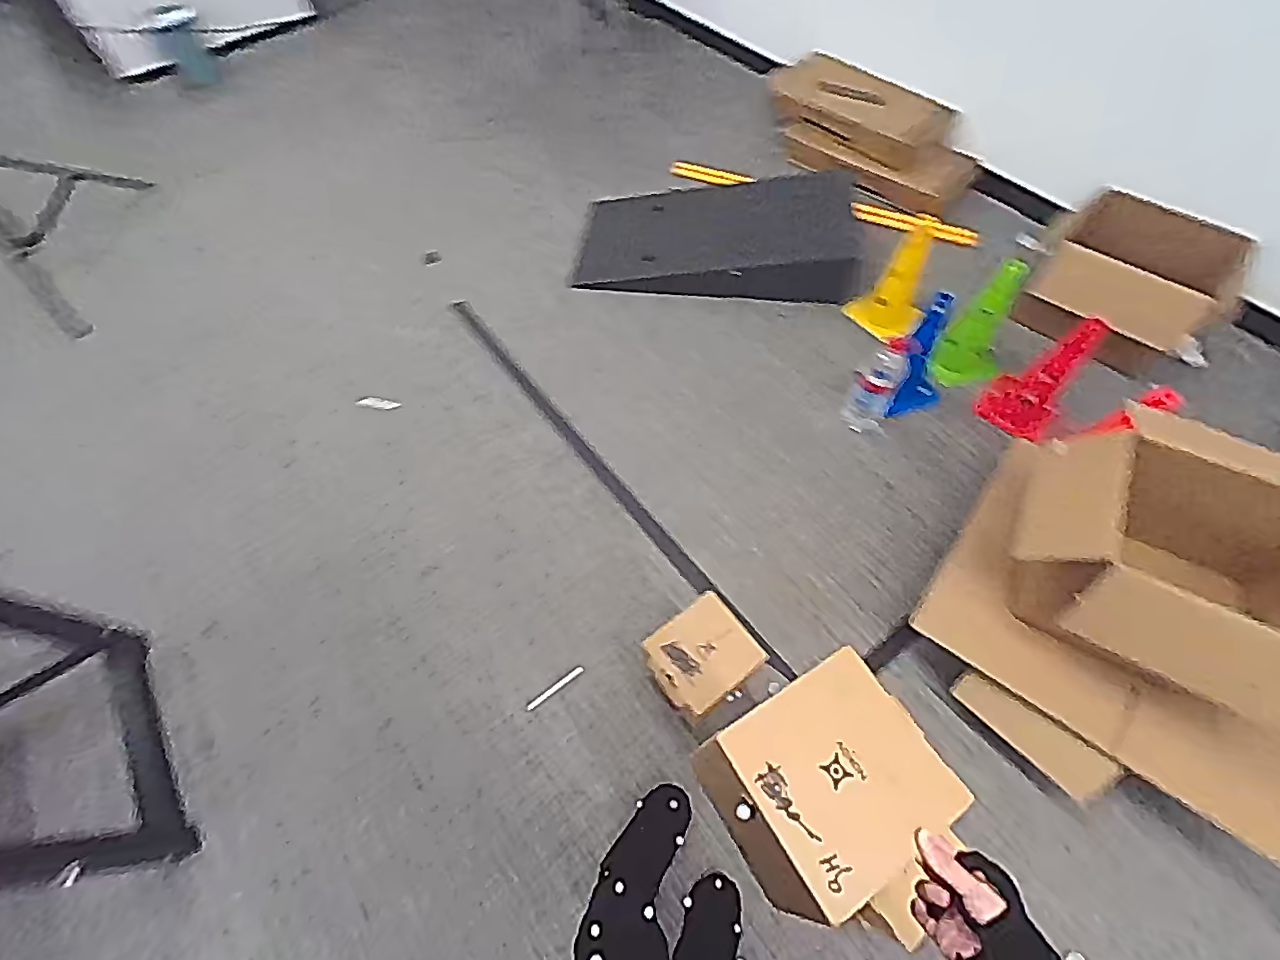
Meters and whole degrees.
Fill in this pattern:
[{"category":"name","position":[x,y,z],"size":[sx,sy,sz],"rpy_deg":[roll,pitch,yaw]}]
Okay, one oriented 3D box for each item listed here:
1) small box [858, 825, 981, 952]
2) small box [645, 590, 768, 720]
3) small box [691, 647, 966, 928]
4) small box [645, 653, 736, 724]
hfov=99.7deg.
[{"category":"small box","position":[0.419,0.633,0.922],"size":[0.179,0.176,0.168],"rpy_deg":[-34,66,-15]},{"category":"small box","position":[0.128,0.357,1.085],"size":[0.179,0.176,0.168],"rpy_deg":[-33,65,-16]},{"category":"small box","position":[0.174,0.305,0.557],"size":[0.179,0.176,0.168],"rpy_deg":[-25,62,-21]},{"category":"small box","position":[0.131,0.432,1.231],"size":[0.168,0.176,0.179],"rpy_deg":[-36,65,-17]}]
